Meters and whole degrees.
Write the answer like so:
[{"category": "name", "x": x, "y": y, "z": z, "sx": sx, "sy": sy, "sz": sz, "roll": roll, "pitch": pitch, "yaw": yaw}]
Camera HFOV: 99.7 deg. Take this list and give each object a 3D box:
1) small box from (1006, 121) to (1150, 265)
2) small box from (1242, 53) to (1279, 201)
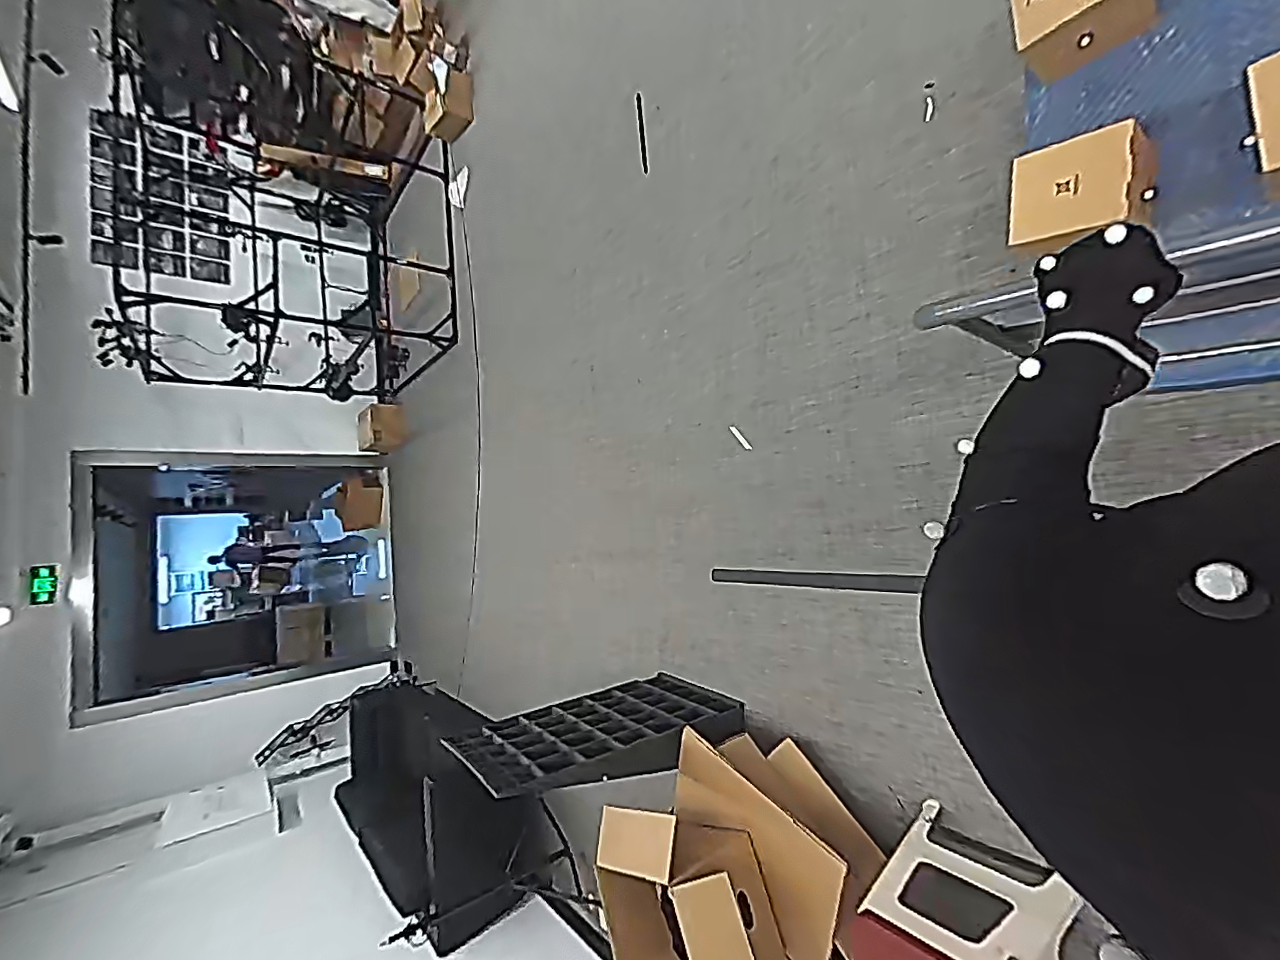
[{"category": "small box", "x": 0.826, "y": -0.525, "z": 1.021, "sx": 0.179, "sy": 0.176, "sz": 0.168, "roll": 5, "pitch": 95, "yaw": 50}, {"category": "small box", "x": 1.015, "y": -0.536, "z": 0.777, "sx": 0.179, "sy": 0.176, "sz": 0.168, "roll": -8, "pitch": 85, "yaw": 52}]
